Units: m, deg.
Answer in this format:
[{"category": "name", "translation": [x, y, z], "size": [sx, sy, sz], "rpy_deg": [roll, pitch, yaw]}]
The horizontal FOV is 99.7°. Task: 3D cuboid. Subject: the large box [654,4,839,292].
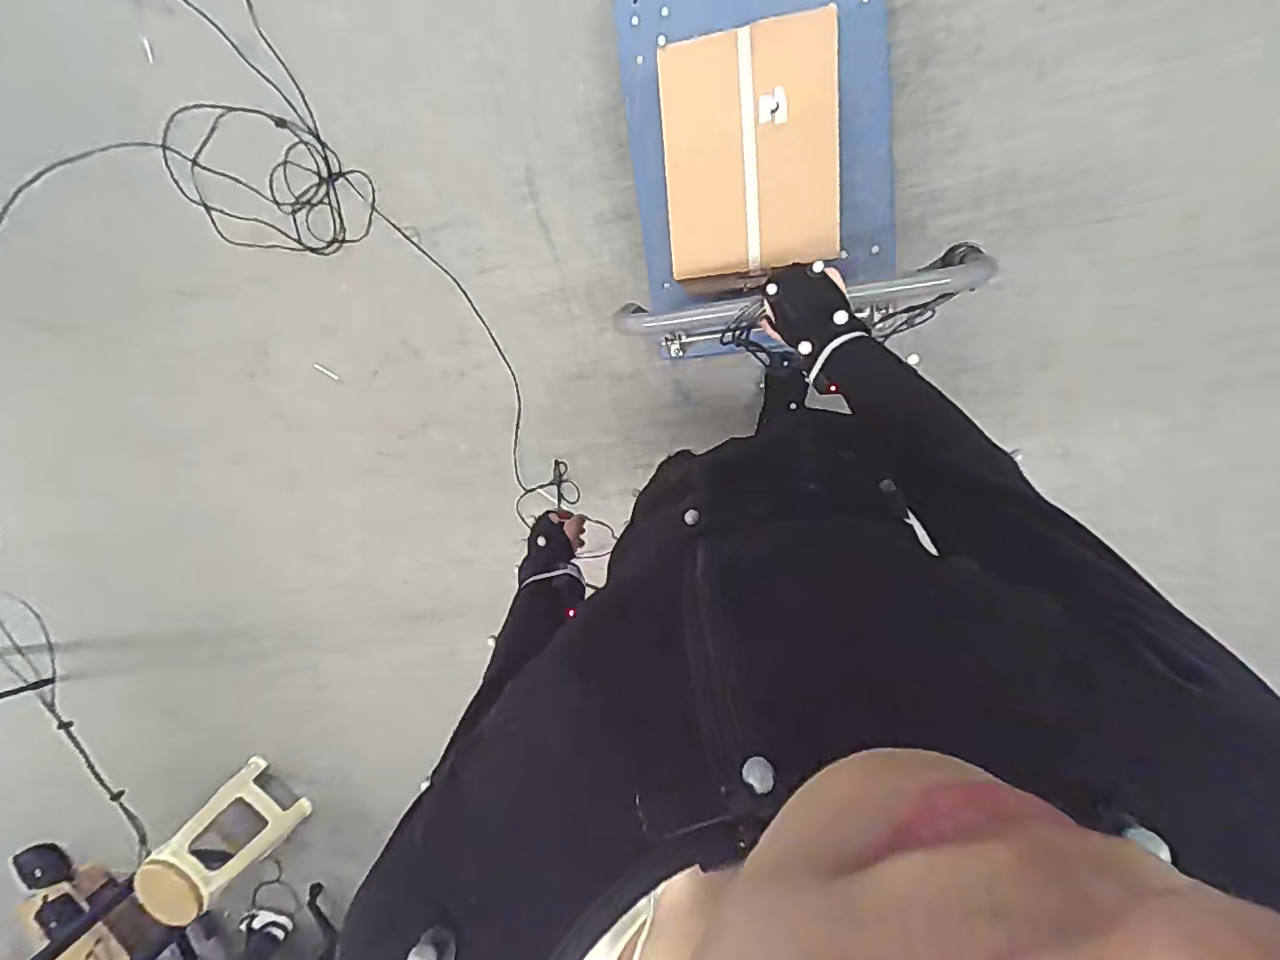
[{"category": "large box", "translation": [0.225, -0.629, 1.116], "size": [0.320, 0.320, 0.408], "rpy_deg": [-2, 103, 12]}]
